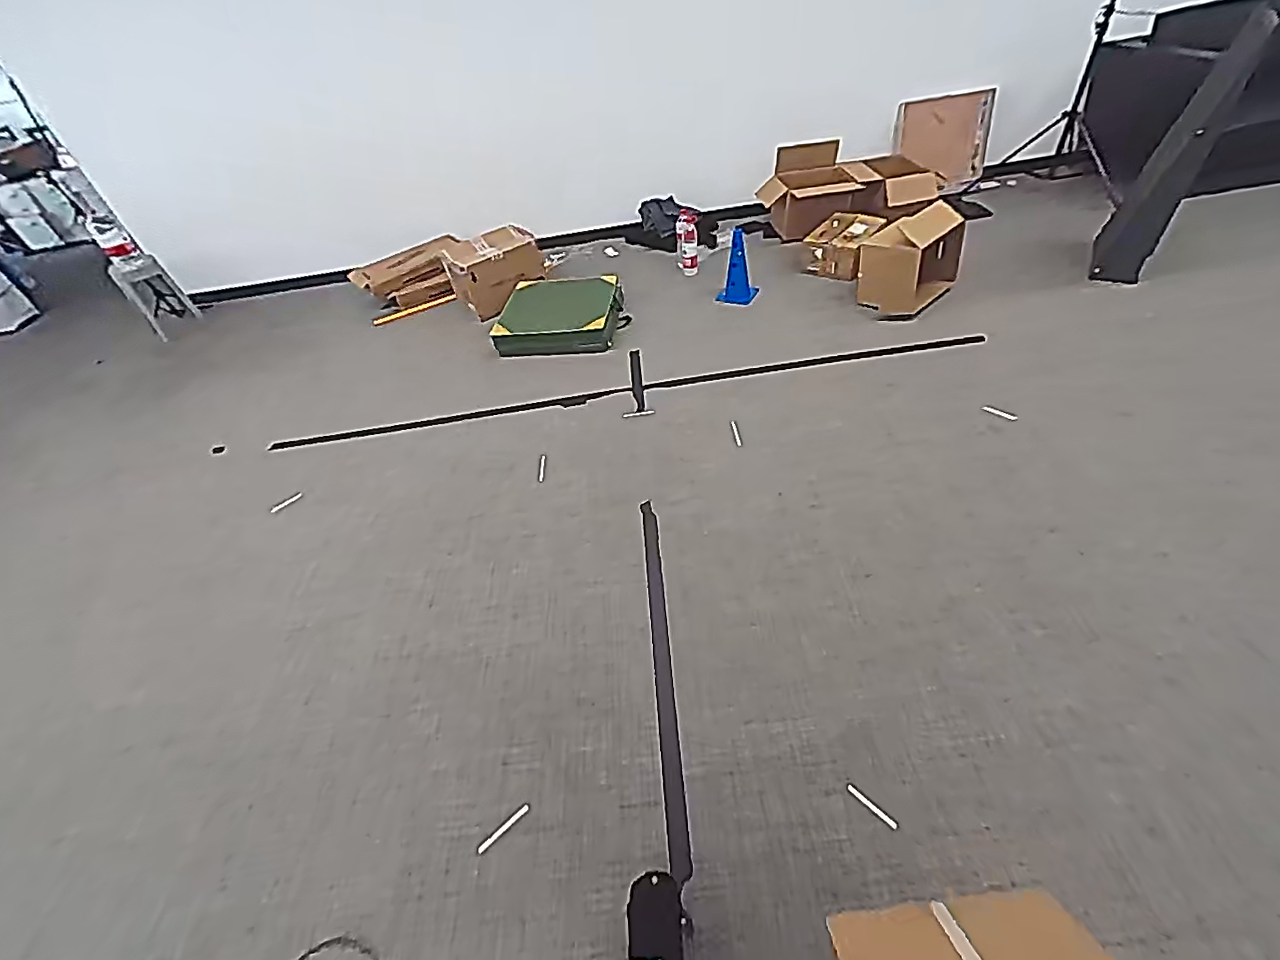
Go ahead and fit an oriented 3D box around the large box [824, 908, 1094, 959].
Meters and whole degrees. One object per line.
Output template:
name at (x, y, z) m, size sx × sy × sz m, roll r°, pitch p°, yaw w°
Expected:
large box at (0.419, 0.749, 0.546) m, size 0.320 × 0.408 × 0.320 m, roll -10°, pitch 87°, yaw 3°
